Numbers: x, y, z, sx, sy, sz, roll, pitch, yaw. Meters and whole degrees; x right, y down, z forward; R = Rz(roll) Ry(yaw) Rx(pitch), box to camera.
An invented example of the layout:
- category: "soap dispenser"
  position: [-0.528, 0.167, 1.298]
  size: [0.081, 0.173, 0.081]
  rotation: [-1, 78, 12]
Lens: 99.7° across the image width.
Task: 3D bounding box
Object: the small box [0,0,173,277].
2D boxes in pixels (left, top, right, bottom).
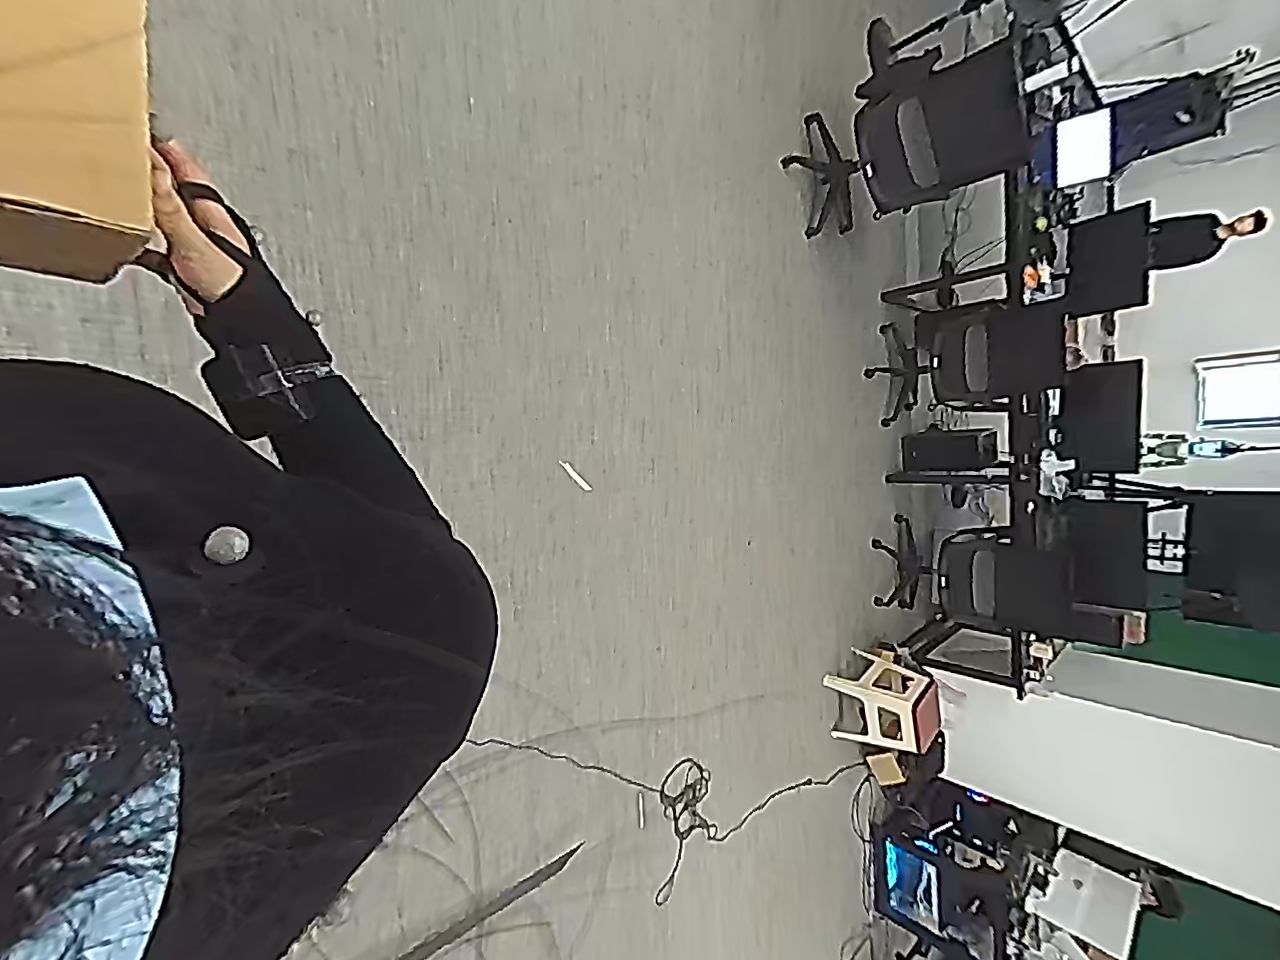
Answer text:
- category: "small box"
  position: [-0.387, -0.230, 0.298]
  size: [0.168, 0.176, 0.179]
  rotation: [-5, 98, -52]
